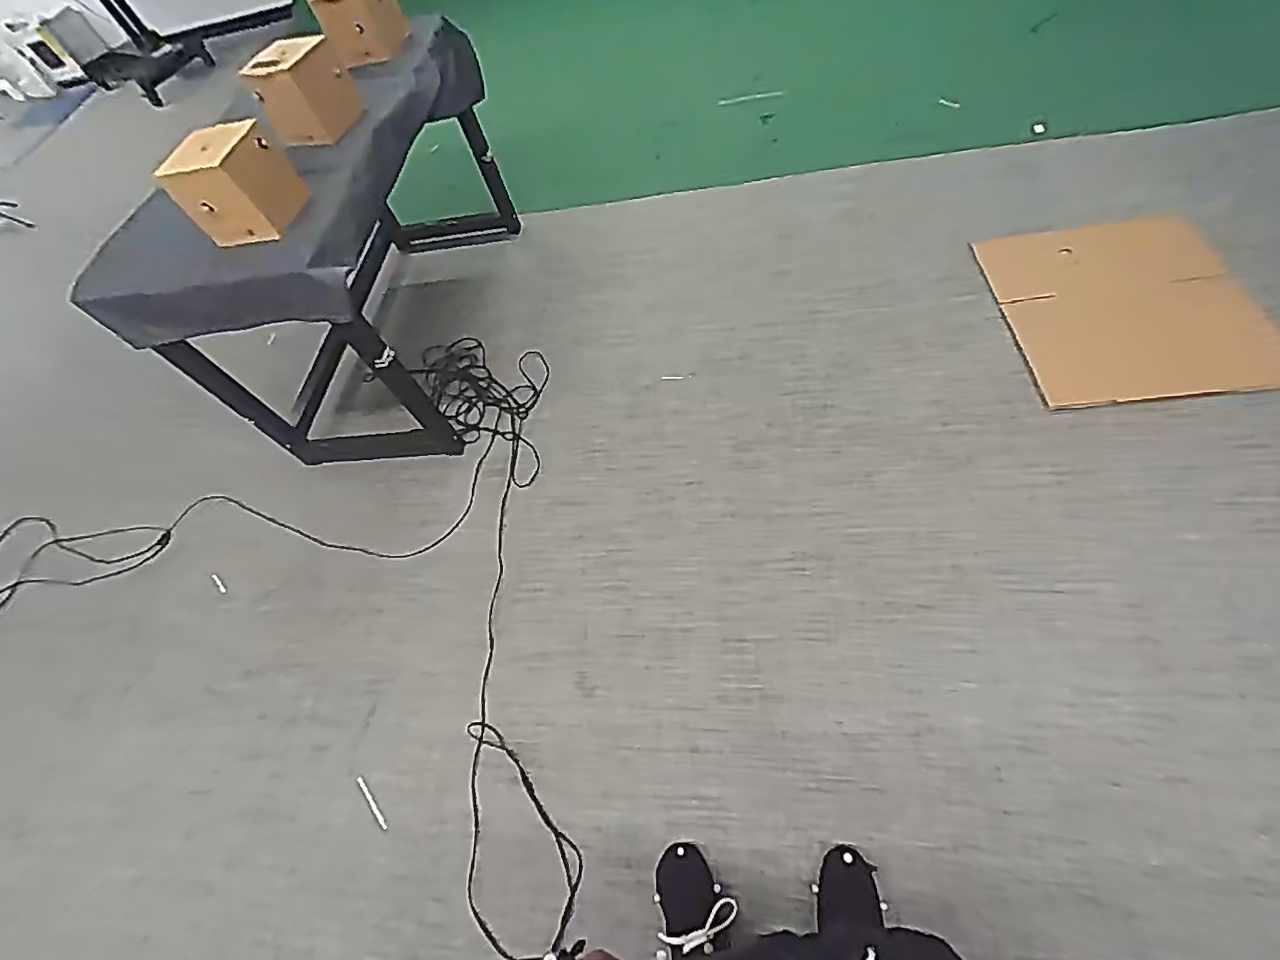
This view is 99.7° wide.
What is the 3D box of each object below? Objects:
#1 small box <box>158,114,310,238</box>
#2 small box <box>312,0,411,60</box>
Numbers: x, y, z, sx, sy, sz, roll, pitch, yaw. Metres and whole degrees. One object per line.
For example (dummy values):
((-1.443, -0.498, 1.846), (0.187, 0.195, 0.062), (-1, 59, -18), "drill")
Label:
((-0.862, -0.646, 1.170), (0.168, 0.176, 0.179), (-1, 59, 12), "small box")
((-0.799, -1.355, 1.573), (0.168, 0.176, 0.179), (3, 60, 12), "small box")
